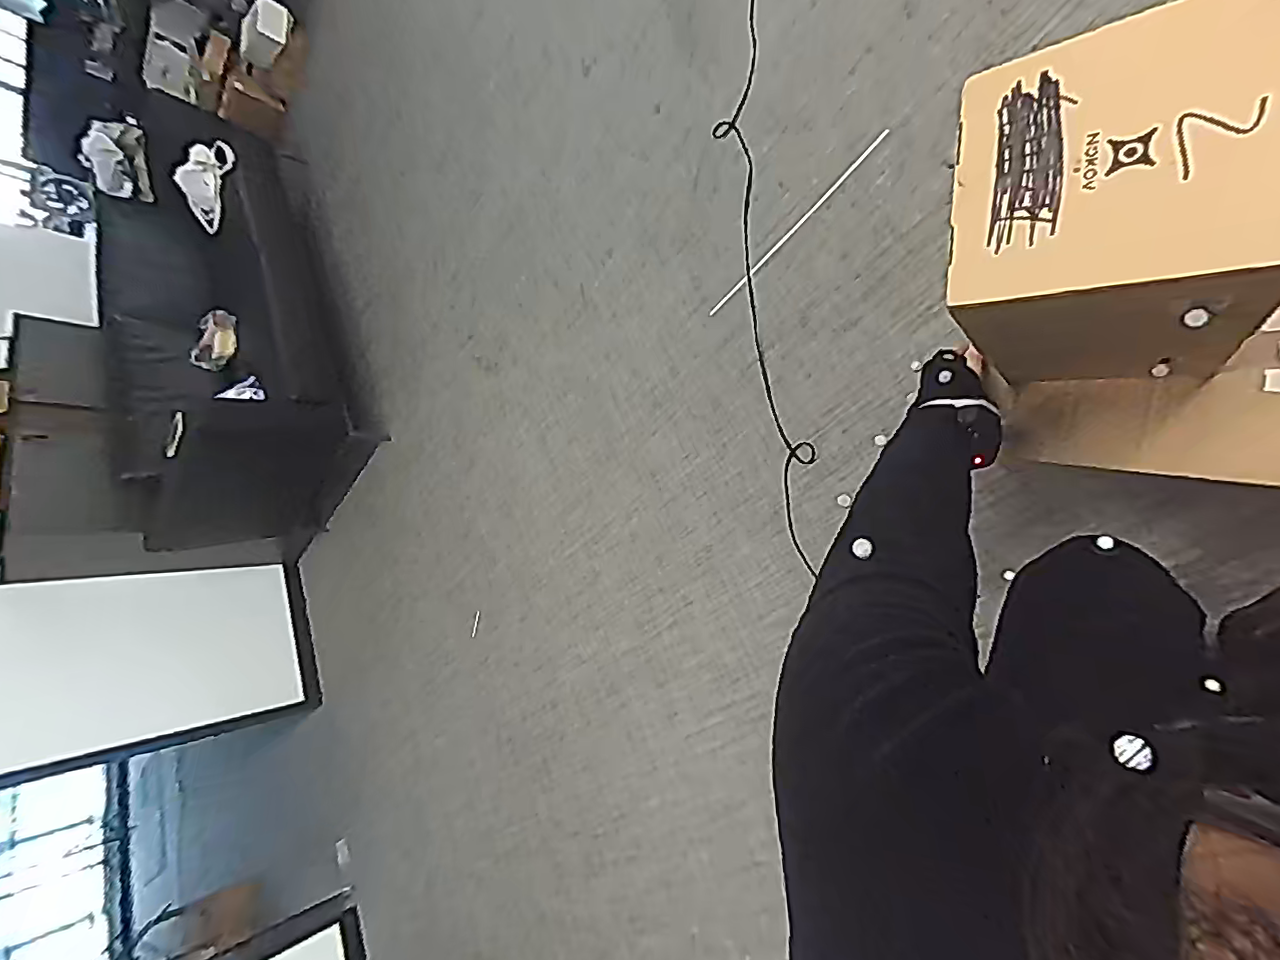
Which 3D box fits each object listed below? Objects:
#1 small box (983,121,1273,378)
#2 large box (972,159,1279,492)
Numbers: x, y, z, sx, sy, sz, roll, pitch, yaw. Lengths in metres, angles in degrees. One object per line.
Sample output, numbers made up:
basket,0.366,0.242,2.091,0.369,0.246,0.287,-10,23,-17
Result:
small box,0.457,-0.197,0.526,0.179,0.176,0.168,6,92,42
large box,0.677,-0.156,0.658,0.408,0.320,0.320,11,96,40
